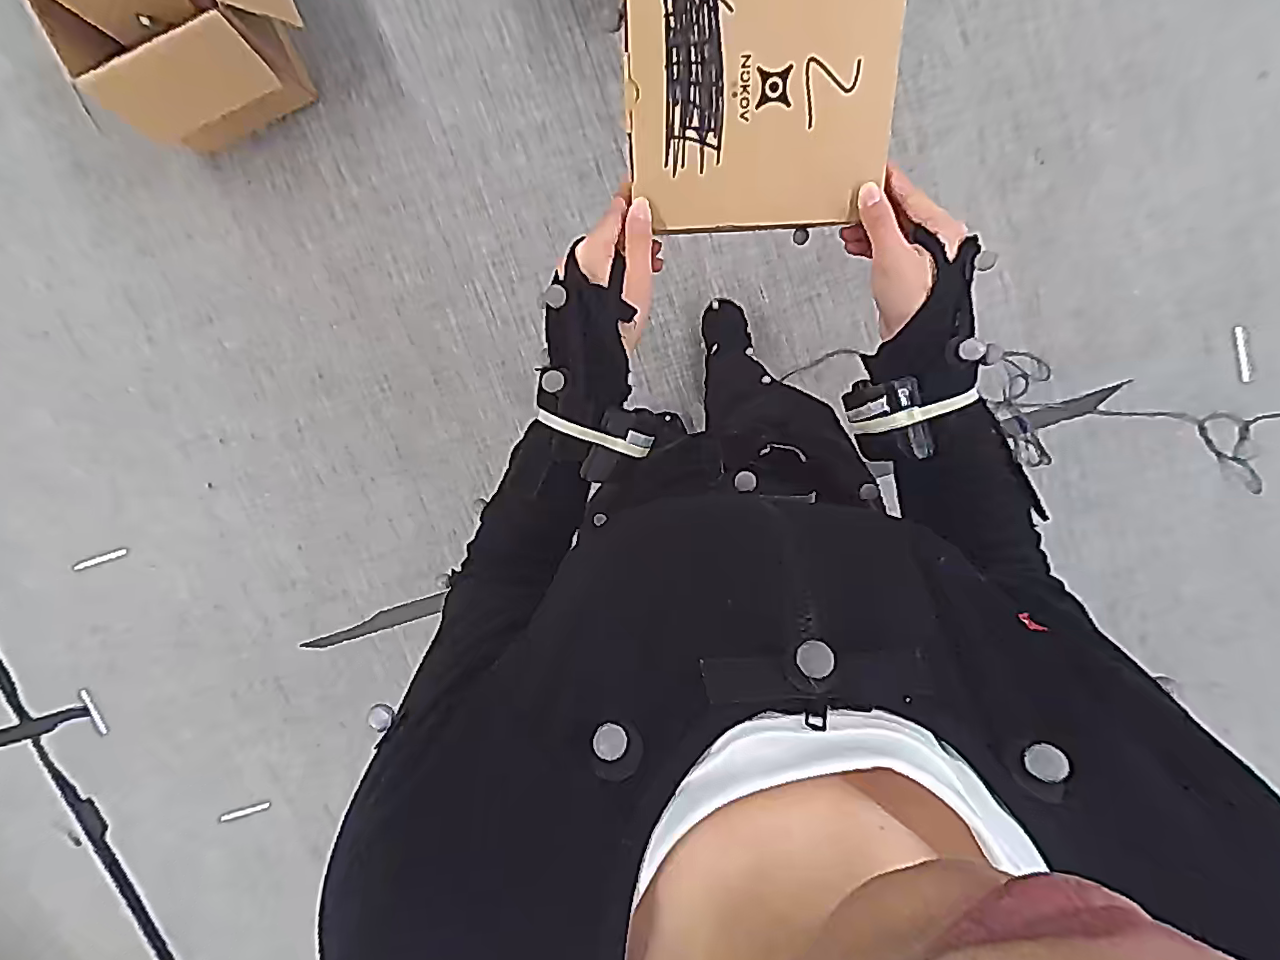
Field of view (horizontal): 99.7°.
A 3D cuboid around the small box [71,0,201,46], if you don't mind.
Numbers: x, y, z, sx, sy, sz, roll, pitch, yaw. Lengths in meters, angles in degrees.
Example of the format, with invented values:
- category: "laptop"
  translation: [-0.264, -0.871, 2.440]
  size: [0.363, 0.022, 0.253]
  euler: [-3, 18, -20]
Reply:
- category: "small box"
  translation: [-0.960, -0.949, 0.974]
  size: [0.168, 0.176, 0.179]
  euler: [-20, 99, 4]
